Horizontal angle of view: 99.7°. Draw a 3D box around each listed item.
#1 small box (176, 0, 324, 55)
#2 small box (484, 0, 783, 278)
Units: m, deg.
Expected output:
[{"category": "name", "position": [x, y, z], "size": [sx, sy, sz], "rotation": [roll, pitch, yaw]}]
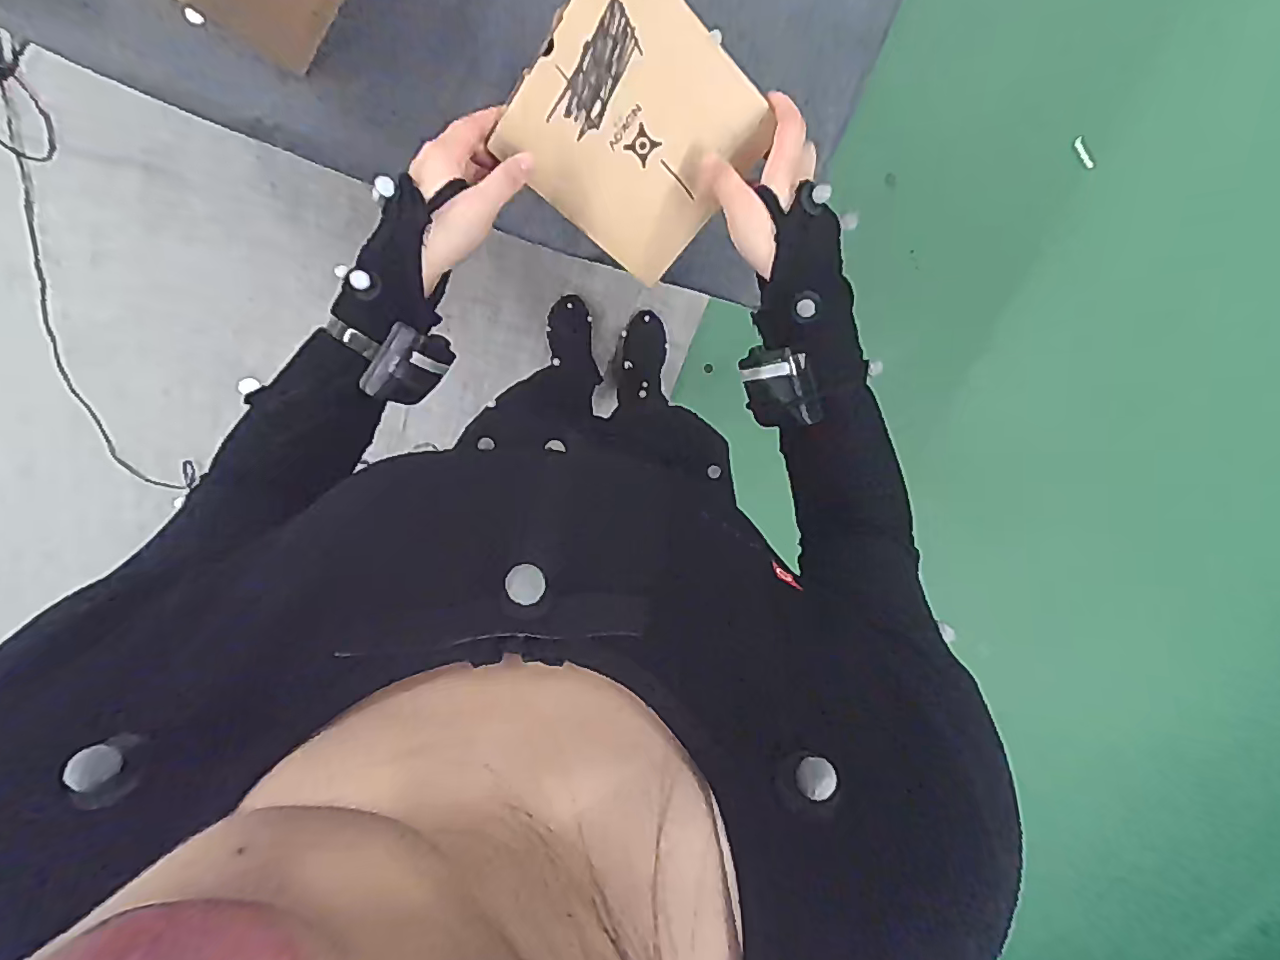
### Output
[{"category": "small box", "position": [-0.371, -0.505, 0.448], "size": [0.179, 0.176, 0.168], "rotation": [37, 105, -13]}, {"category": "small box", "position": [-0.007, -0.319, 0.483], "size": [0.179, 0.176, 0.168], "rotation": [35, 118, -23]}]
